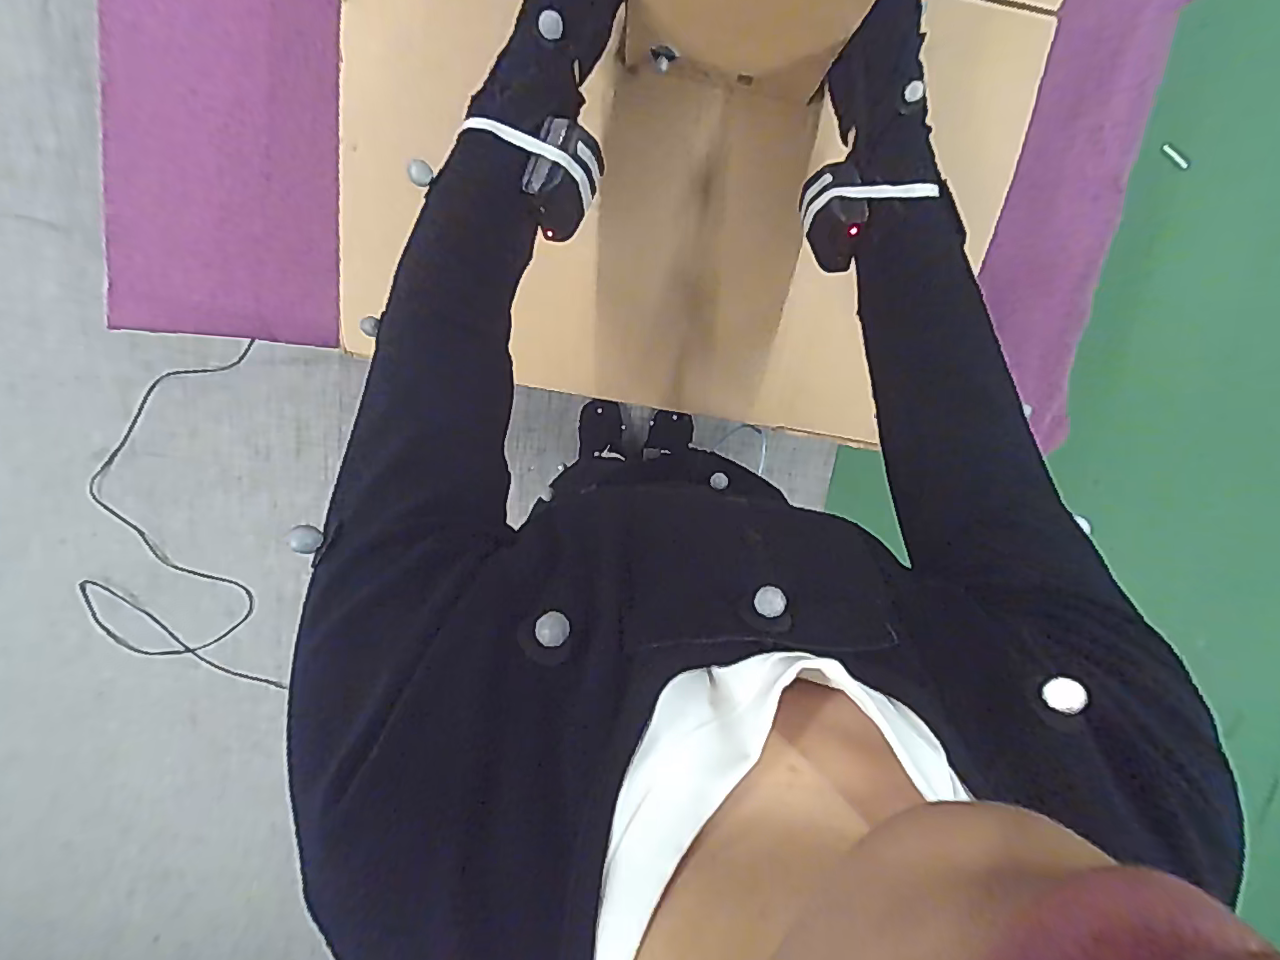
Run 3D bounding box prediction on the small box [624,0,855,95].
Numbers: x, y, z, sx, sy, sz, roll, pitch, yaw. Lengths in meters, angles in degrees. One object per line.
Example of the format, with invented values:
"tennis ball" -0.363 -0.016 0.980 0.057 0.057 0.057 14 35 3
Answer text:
"small box" 0.081 -0.418 0.383 0.168 0.176 0.179 9 99 -4
